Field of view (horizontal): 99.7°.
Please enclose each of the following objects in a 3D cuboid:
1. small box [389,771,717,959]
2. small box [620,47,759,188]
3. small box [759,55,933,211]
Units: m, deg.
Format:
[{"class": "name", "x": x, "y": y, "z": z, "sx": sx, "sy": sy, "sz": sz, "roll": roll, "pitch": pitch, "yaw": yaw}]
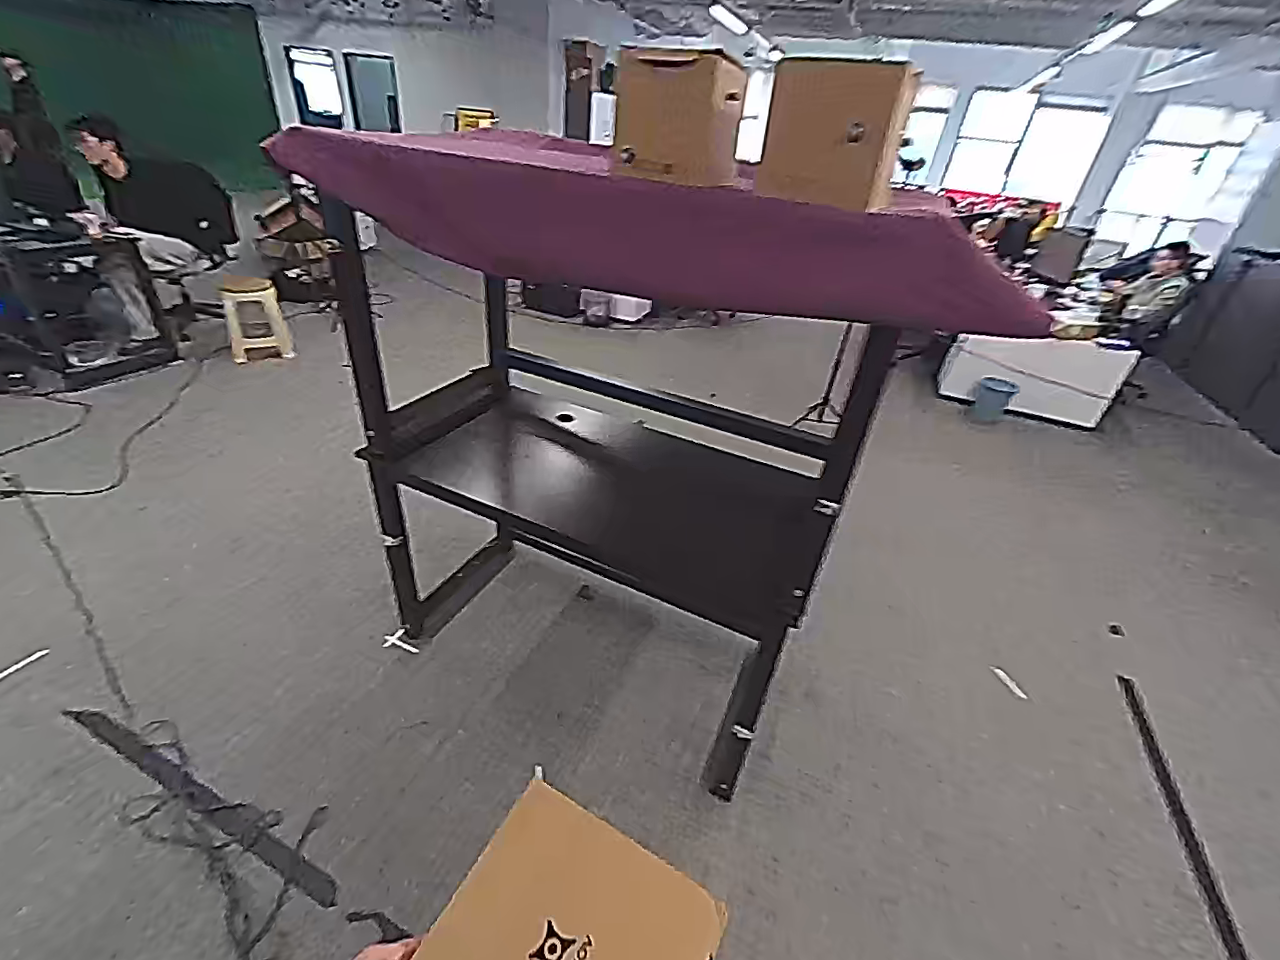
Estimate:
[{"class": "small box", "x": -0.062, "y": 0.369, "z": 0.406, "sx": 0.179, "sy": 0.176, "sz": 0.168, "roll": 21, "pitch": 43, "yaw": 20}, {"class": "small box", "x": 0.076, "y": -0.576, "z": 0.873, "sx": 0.168, "sy": 0.176, "sz": 0.179, "roll": 19, "pitch": 34, "yaw": 18}, {"class": "small box", "x": 0.292, "y": -0.489, "z": 0.778, "sx": 0.179, "sy": 0.176, "sz": 0.168, "roll": 21, "pitch": 34, "yaw": 22}]
